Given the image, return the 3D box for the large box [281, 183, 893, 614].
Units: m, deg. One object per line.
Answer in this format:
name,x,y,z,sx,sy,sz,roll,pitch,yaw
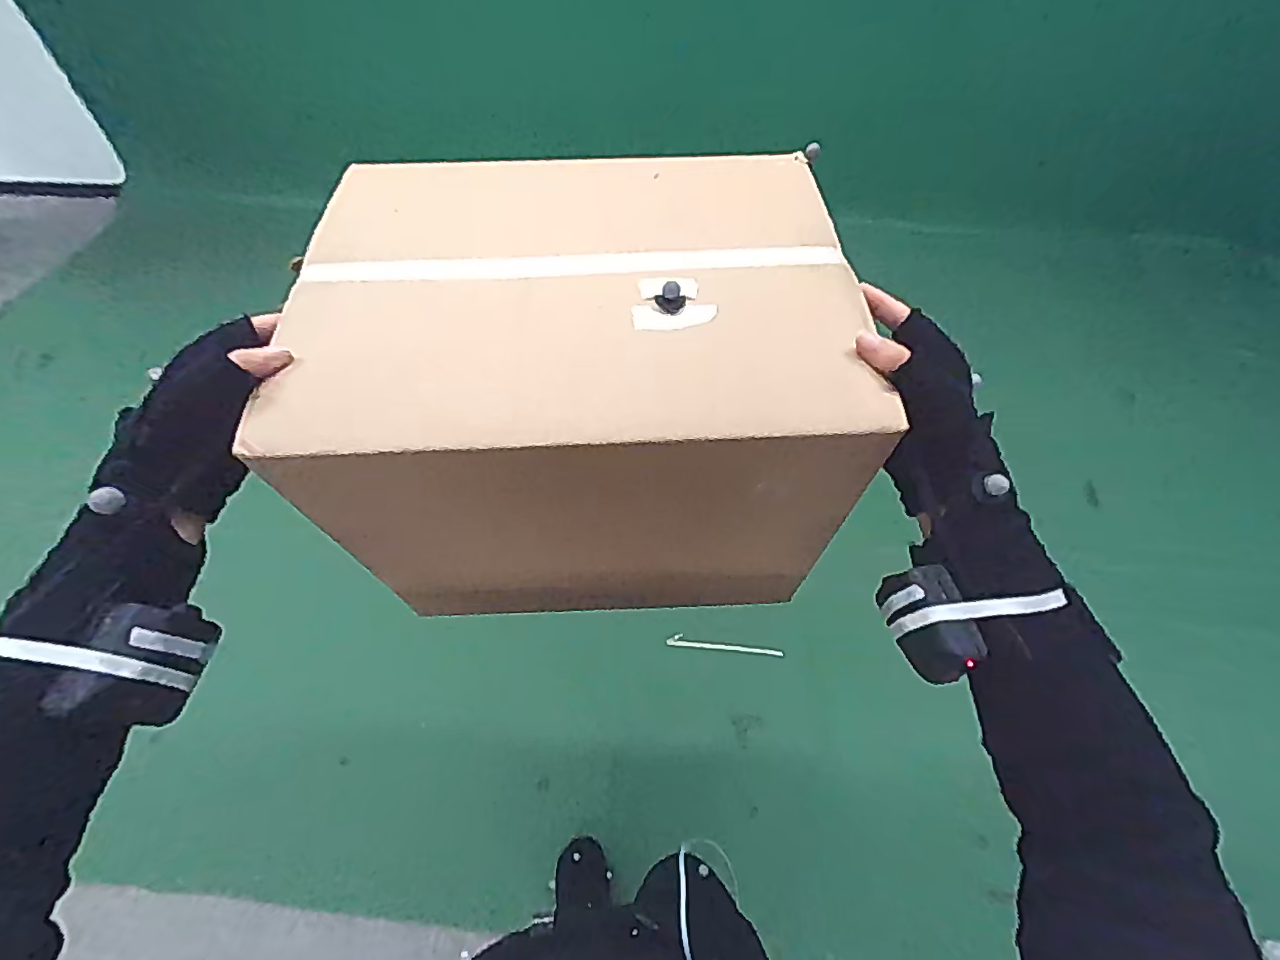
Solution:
large box,-0.041,-0.067,0.550,0.408,0.320,0.320,-1,59,-2
